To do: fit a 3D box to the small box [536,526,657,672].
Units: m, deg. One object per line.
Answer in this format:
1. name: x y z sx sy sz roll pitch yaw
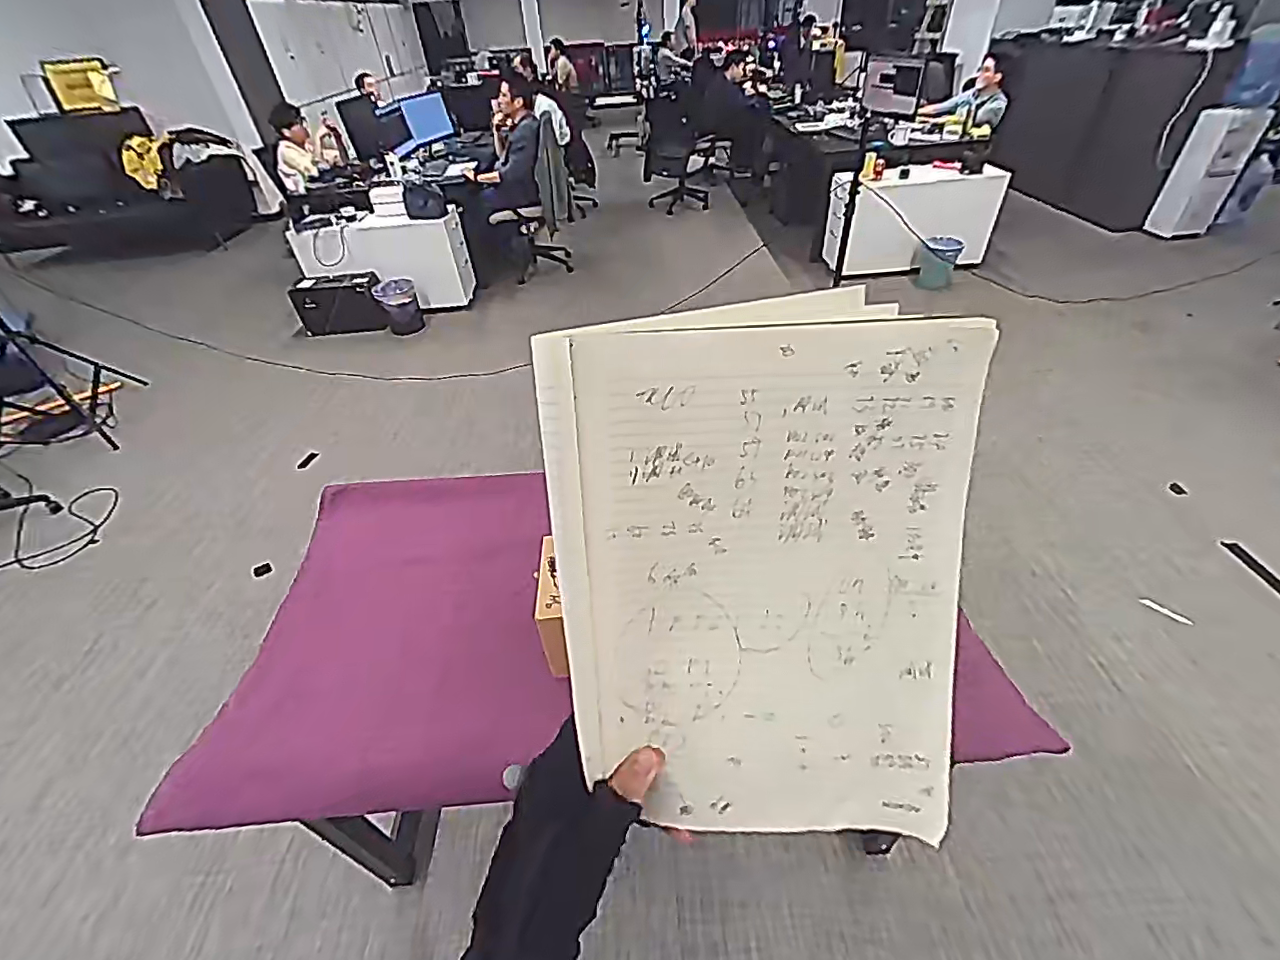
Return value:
1. small box: -0.063 0.195 0.884 0.179 0.176 0.168 -4 40 0
